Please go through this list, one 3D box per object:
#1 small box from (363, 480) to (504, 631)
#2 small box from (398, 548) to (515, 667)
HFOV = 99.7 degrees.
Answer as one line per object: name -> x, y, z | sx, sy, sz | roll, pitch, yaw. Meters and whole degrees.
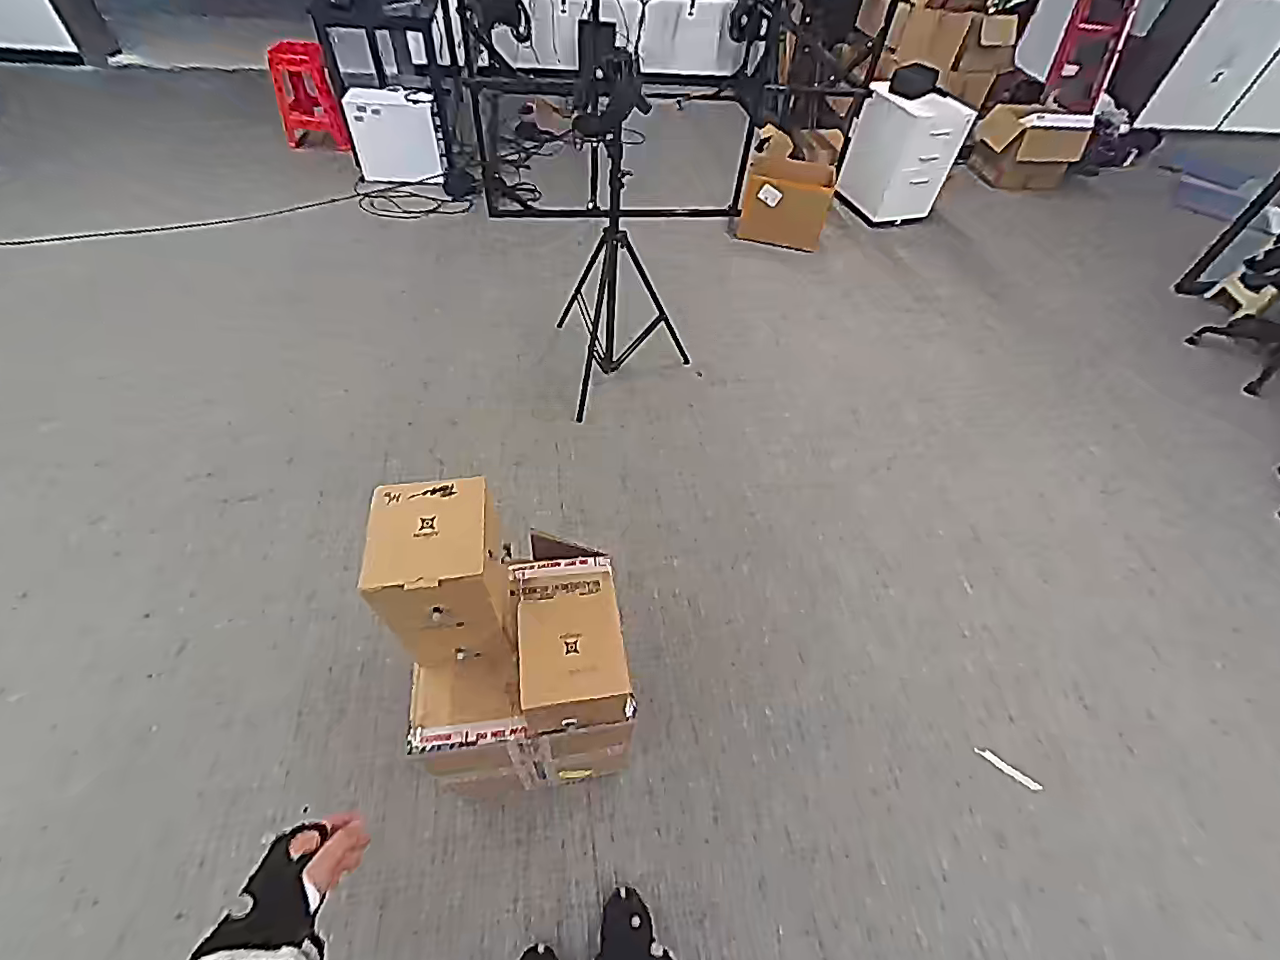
small box -> -0.309, 0.124, 0.845 | 0.168, 0.176, 0.179 | -6, 54, -8
small box -> -0.324, 0.216, 0.981 | 0.168, 0.176, 0.179 | -7, 54, -8
